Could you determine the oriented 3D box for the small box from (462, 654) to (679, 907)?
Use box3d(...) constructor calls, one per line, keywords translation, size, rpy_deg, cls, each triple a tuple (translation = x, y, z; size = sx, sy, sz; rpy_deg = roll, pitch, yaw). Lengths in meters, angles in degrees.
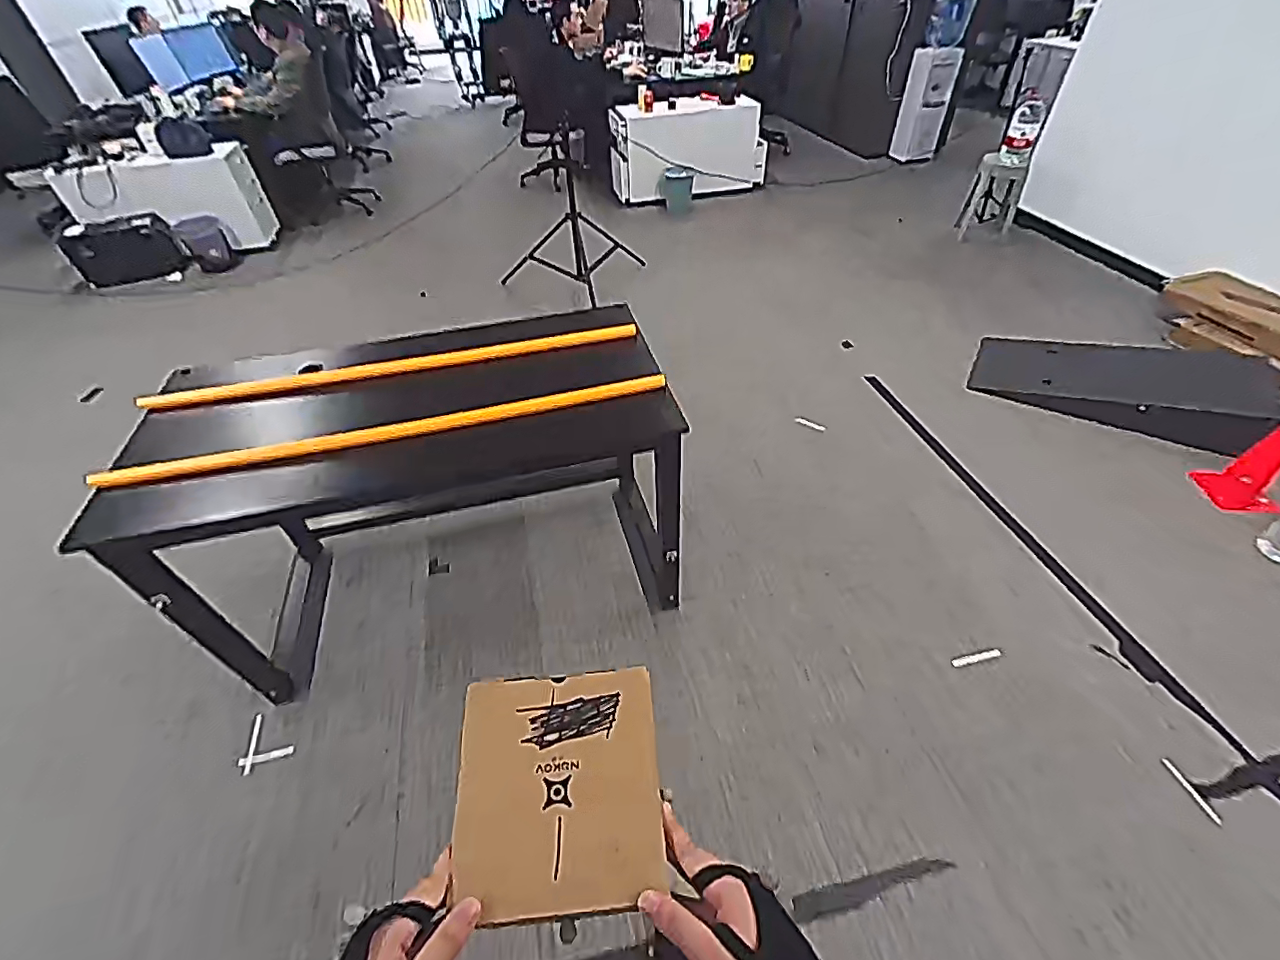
box3d(translation=(-0.059, 0.288, 0.517), size=(0.168, 0.176, 0.179), rpy_deg=(-5, 51, -3), cls="small box")
